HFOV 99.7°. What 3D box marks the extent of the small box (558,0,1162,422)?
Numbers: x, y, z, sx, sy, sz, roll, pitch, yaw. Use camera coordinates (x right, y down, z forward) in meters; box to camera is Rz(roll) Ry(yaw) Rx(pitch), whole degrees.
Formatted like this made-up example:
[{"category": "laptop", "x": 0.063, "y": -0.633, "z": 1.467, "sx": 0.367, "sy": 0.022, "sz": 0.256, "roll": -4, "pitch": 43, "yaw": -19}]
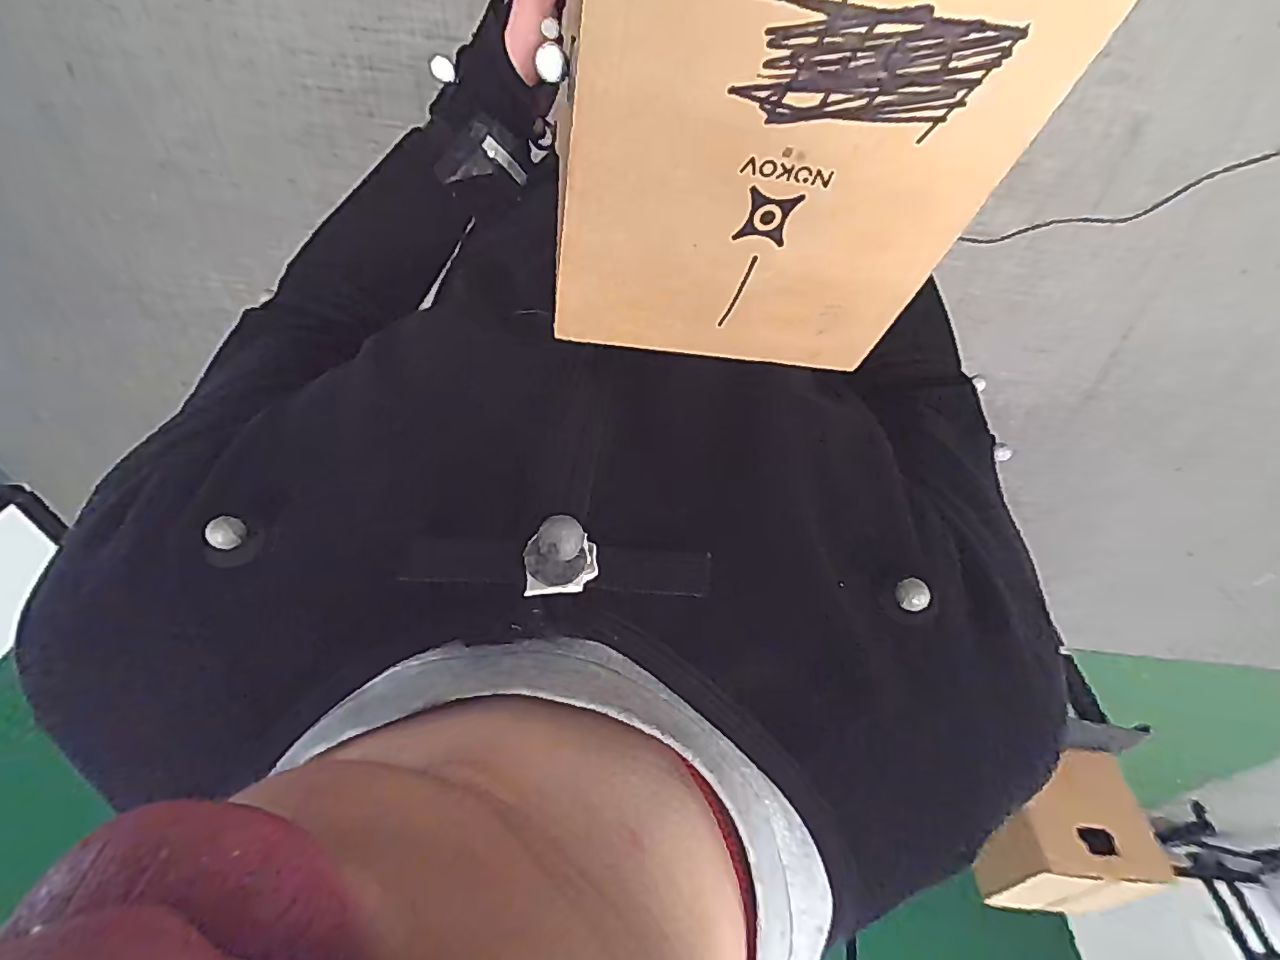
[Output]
[{"category": "small box", "x": 0.051, "y": -0.149, "z": 0.249, "sx": 0.168, "sy": 0.176, "sz": 0.179, "roll": 3, "pitch": 149, "yaw": -11}]
